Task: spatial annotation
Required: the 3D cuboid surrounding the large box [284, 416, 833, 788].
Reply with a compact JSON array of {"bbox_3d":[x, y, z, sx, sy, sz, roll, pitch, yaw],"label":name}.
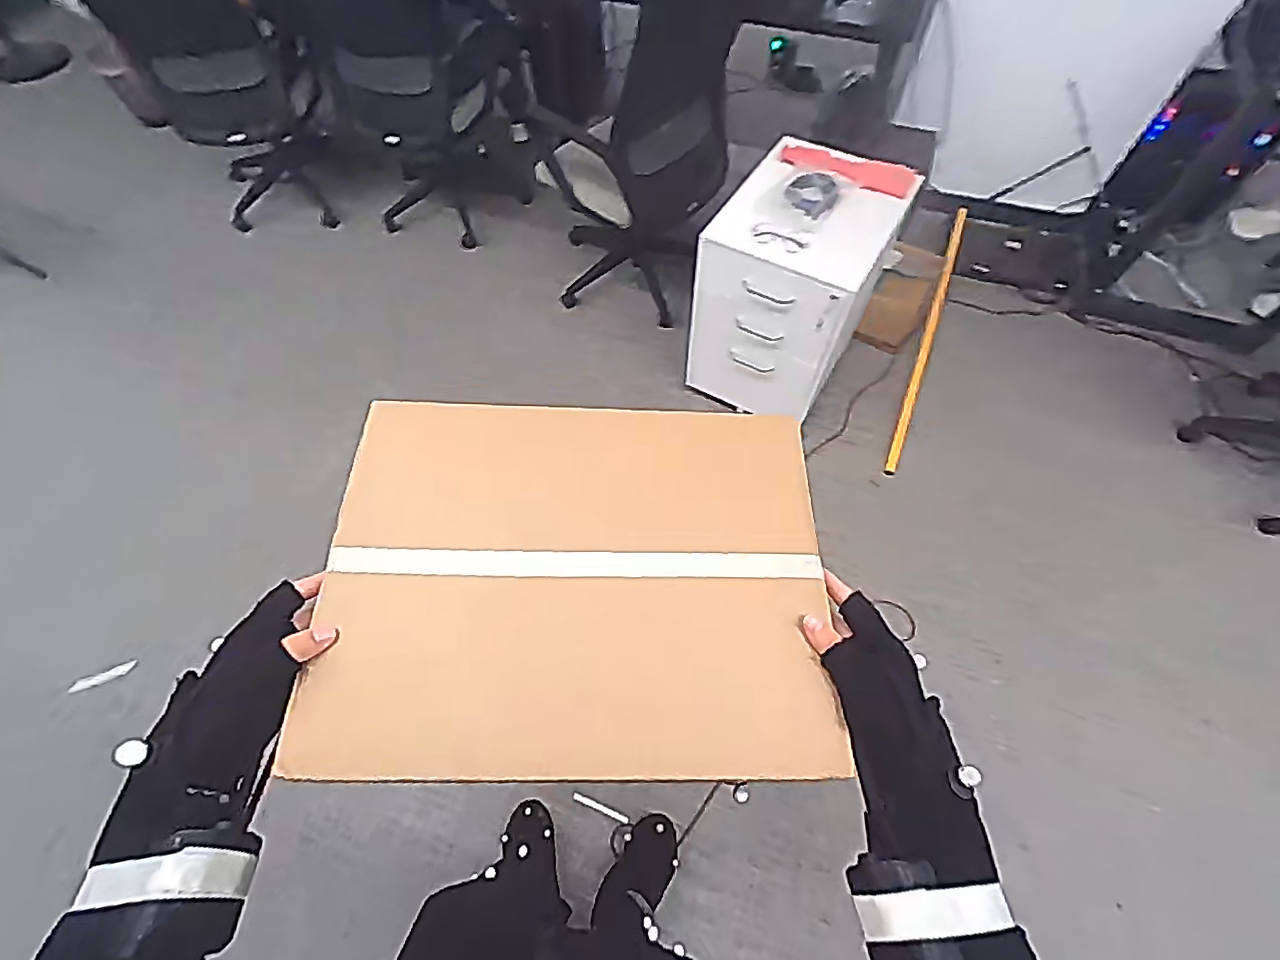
[{"bbox_3d":[-0.063,0.145,0.588,0.408,0.320,0.320,1,62,-4],"label":"large box"}]
